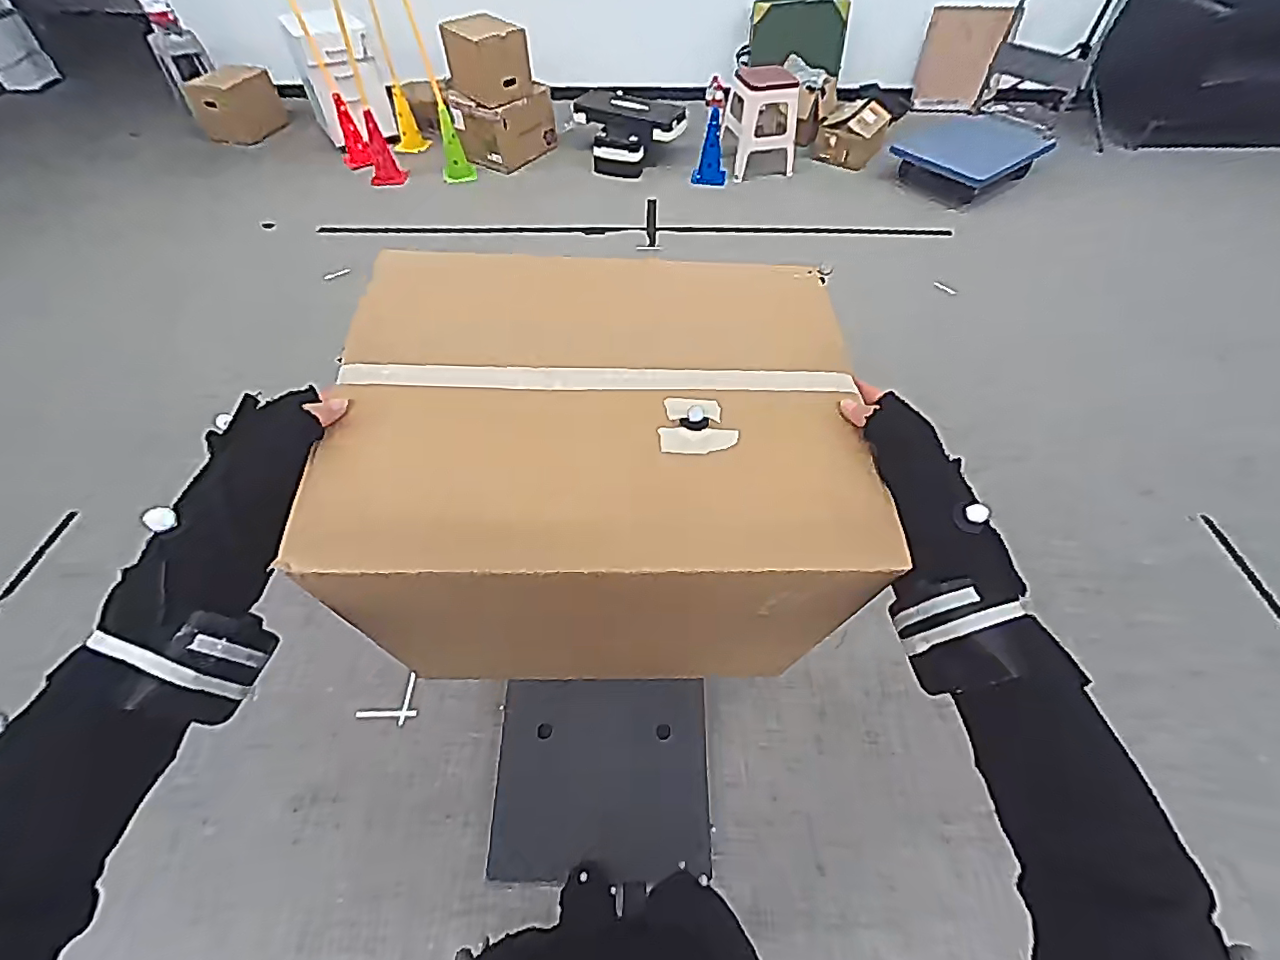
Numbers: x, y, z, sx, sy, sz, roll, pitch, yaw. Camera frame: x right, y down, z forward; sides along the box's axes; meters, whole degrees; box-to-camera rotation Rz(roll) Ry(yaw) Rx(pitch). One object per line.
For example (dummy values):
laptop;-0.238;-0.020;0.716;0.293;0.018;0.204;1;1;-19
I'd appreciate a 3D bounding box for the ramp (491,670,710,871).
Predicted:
ramp;-0.082;0.416;1.416;0.509;0.206;0.991;0;53;-2

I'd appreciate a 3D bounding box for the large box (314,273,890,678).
large box;-0.035;0.012;0.571;0.408;0.320;0.320;1;58;-4
